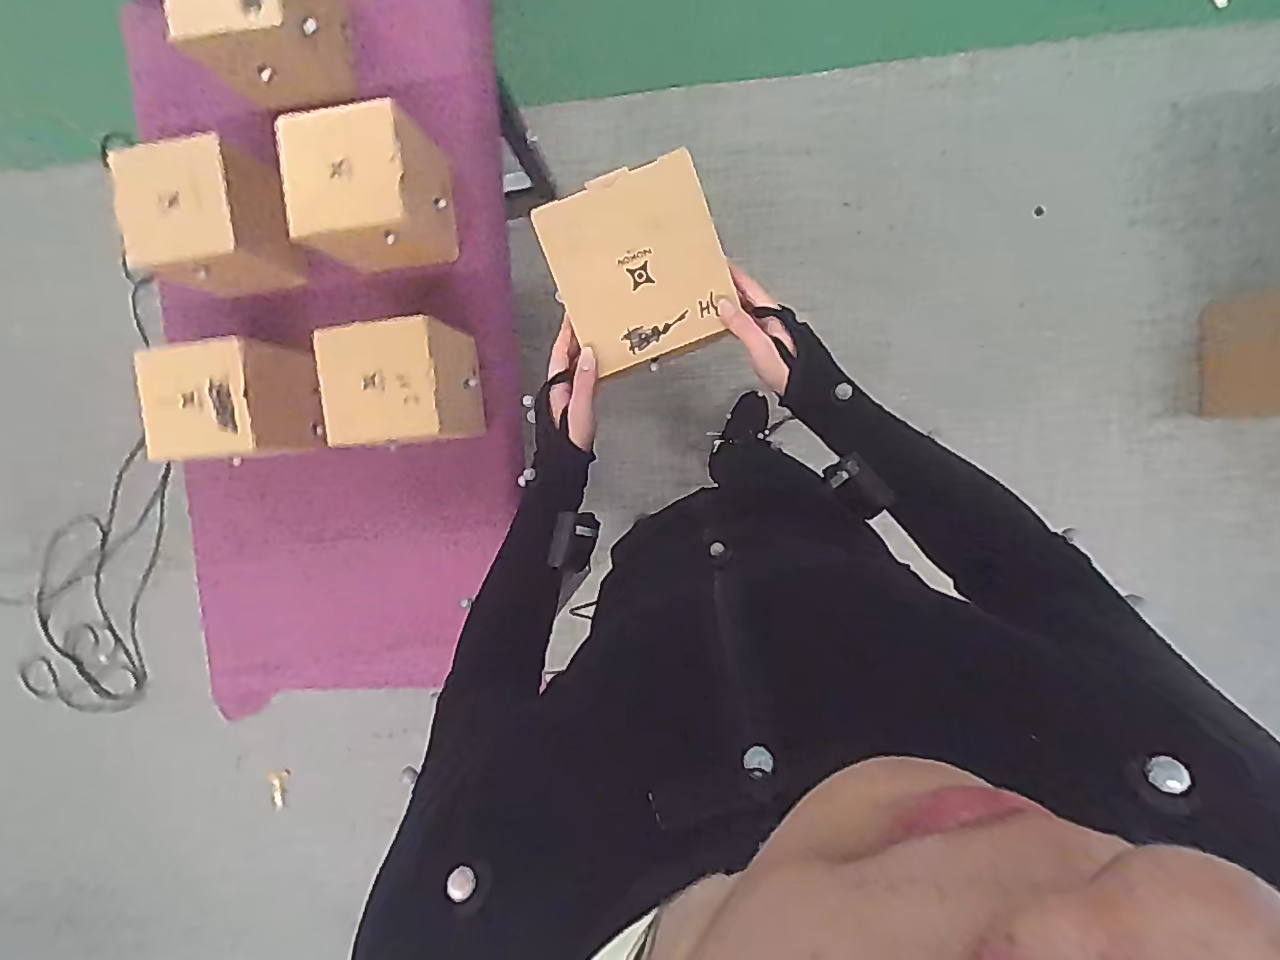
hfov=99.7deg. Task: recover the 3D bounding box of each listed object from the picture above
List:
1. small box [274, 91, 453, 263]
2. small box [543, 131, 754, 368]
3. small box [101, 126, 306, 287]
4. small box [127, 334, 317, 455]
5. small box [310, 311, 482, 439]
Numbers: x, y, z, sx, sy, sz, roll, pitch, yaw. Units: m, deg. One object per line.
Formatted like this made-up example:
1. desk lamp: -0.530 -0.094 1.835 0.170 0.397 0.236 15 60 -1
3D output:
1. small box: -0.410 -0.445 0.825 0.179 0.176 0.168 -5 93 5
2. small box: 0.010 -0.235 0.603 0.168 0.176 0.179 -19 98 5
3. small box: -0.671 -0.415 0.850 0.179 0.176 0.168 -6 95 4
4. small box: -0.651 -0.130 0.868 0.179 0.176 0.168 -5 93 6
5. small box: -0.368 -0.152 0.841 0.179 0.176 0.168 -5 94 6
